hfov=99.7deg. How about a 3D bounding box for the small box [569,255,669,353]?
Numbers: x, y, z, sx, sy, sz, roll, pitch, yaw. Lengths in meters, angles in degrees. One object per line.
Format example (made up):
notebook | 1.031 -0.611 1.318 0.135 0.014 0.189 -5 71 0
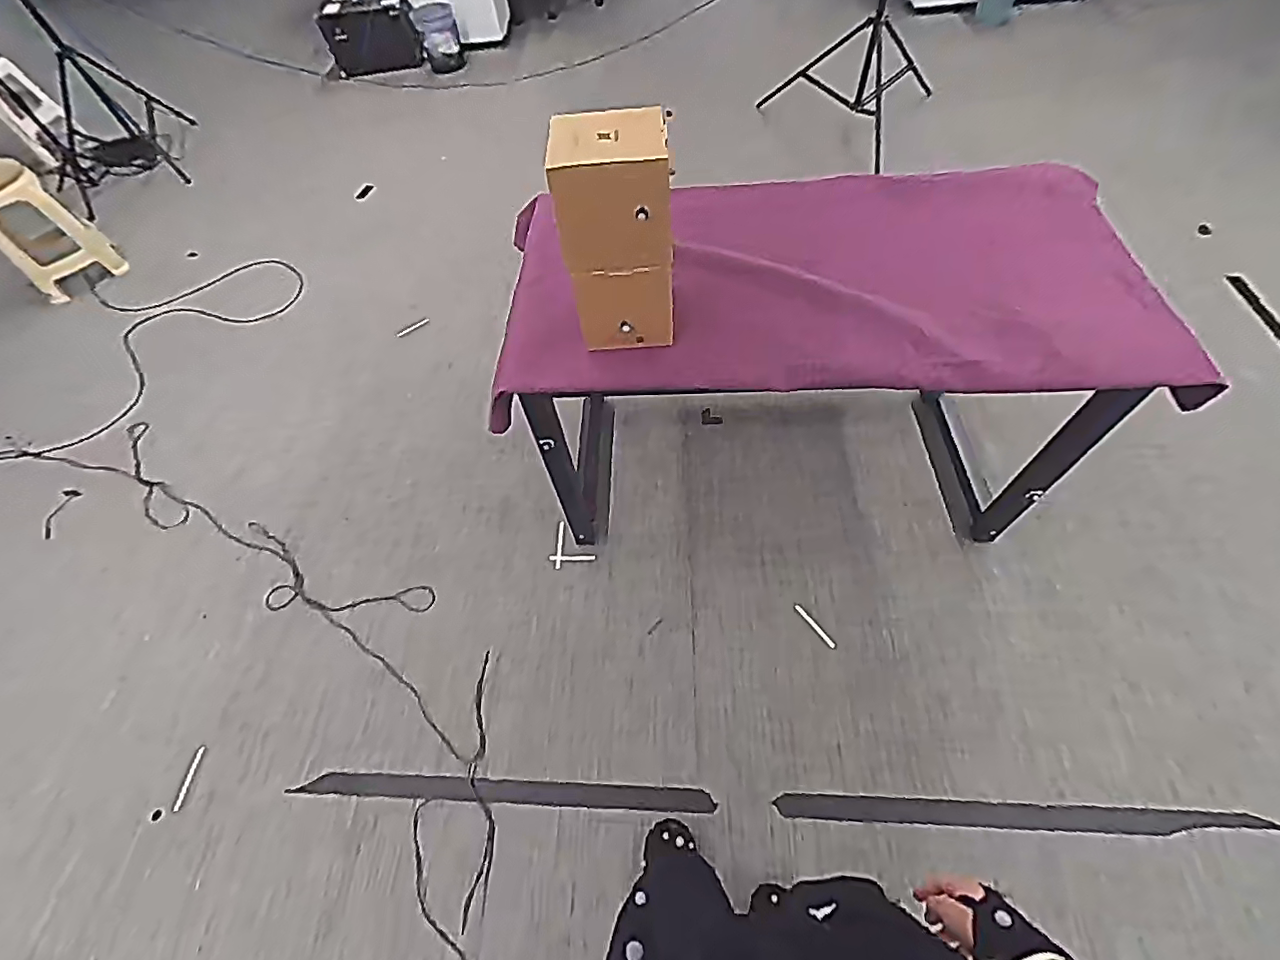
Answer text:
small box | -0.032 -0.358 0.997 0.168 0.176 0.179 -3 57 3

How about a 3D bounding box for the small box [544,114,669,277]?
small box | -0.045 -0.447 0.863 0.179 0.176 0.168 -4 55 3
